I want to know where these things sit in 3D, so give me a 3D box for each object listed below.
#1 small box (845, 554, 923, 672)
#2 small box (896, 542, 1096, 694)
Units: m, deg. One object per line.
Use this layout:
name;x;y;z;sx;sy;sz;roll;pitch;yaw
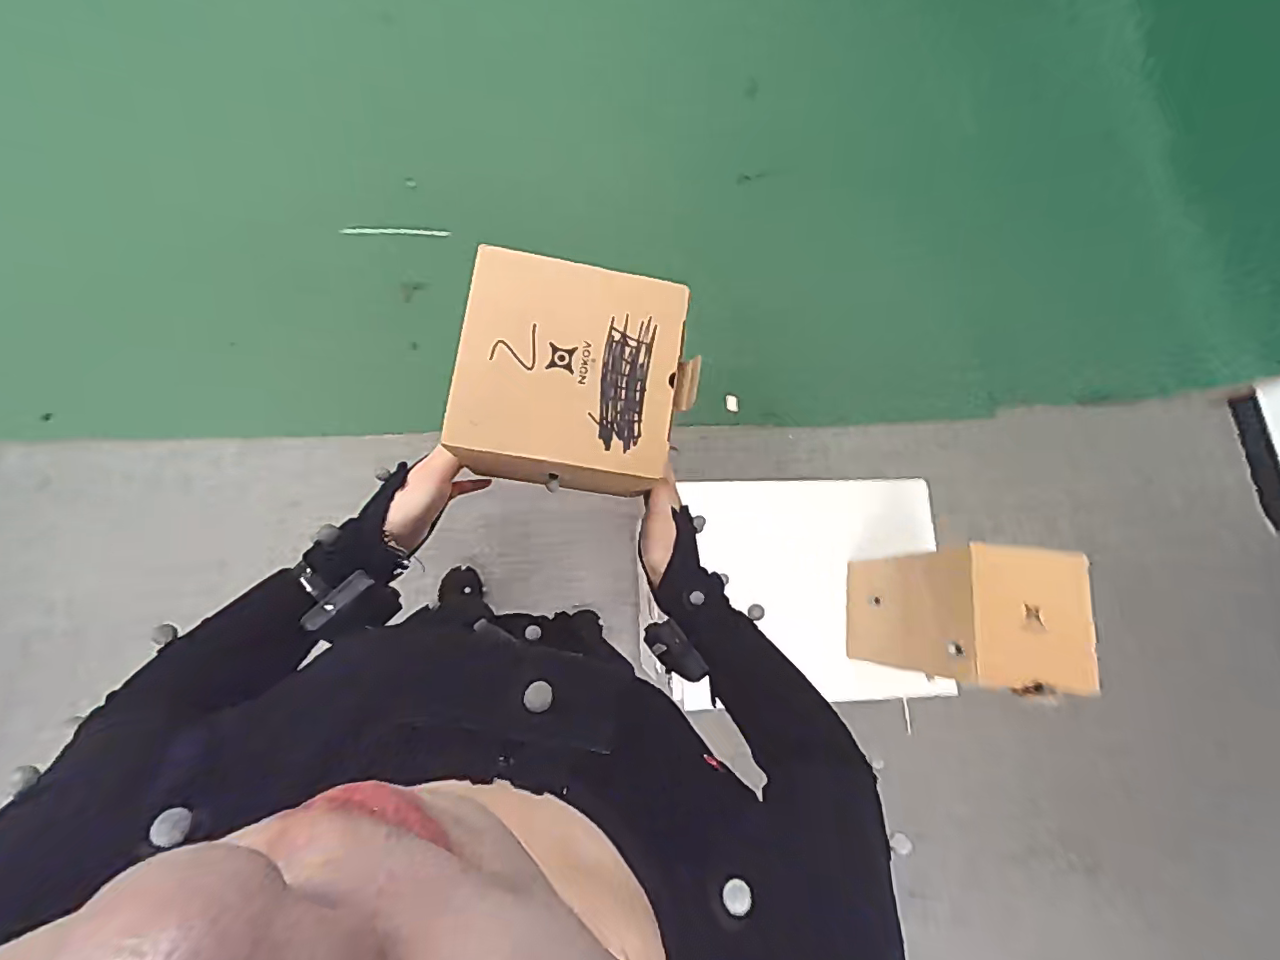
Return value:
small box;0.462;0.228;0.912;0.168;0.176;0.179;7;76;-5
small box;0.479;0.188;0.754;0.168;0.176;0.179;6;78;-6
